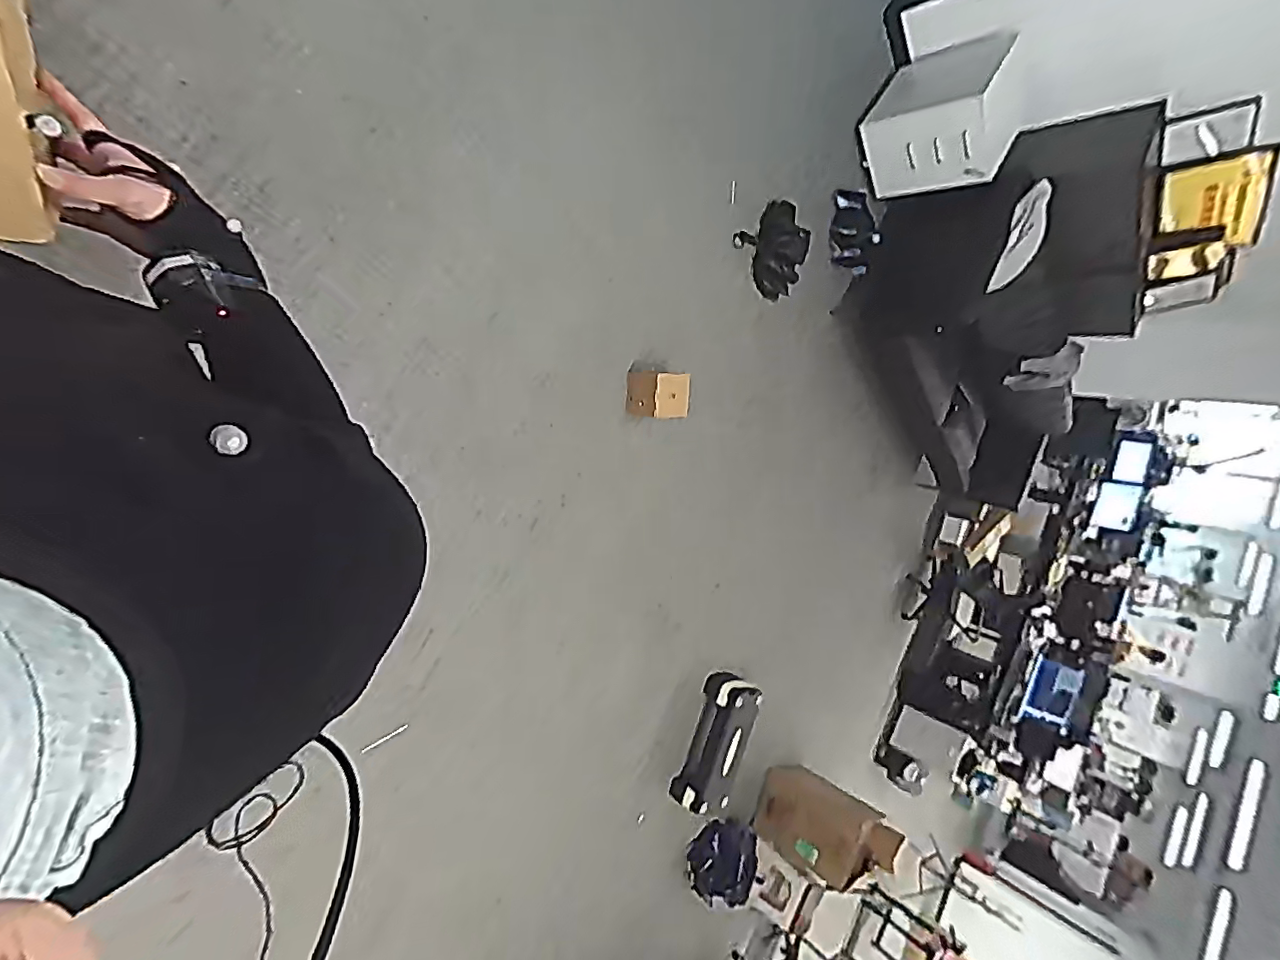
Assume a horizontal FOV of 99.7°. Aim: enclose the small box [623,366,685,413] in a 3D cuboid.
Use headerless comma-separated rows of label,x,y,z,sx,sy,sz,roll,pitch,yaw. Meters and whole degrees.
small box,0.051,-0.352,2.094,0.179,0.176,0.168,-12,110,-43
